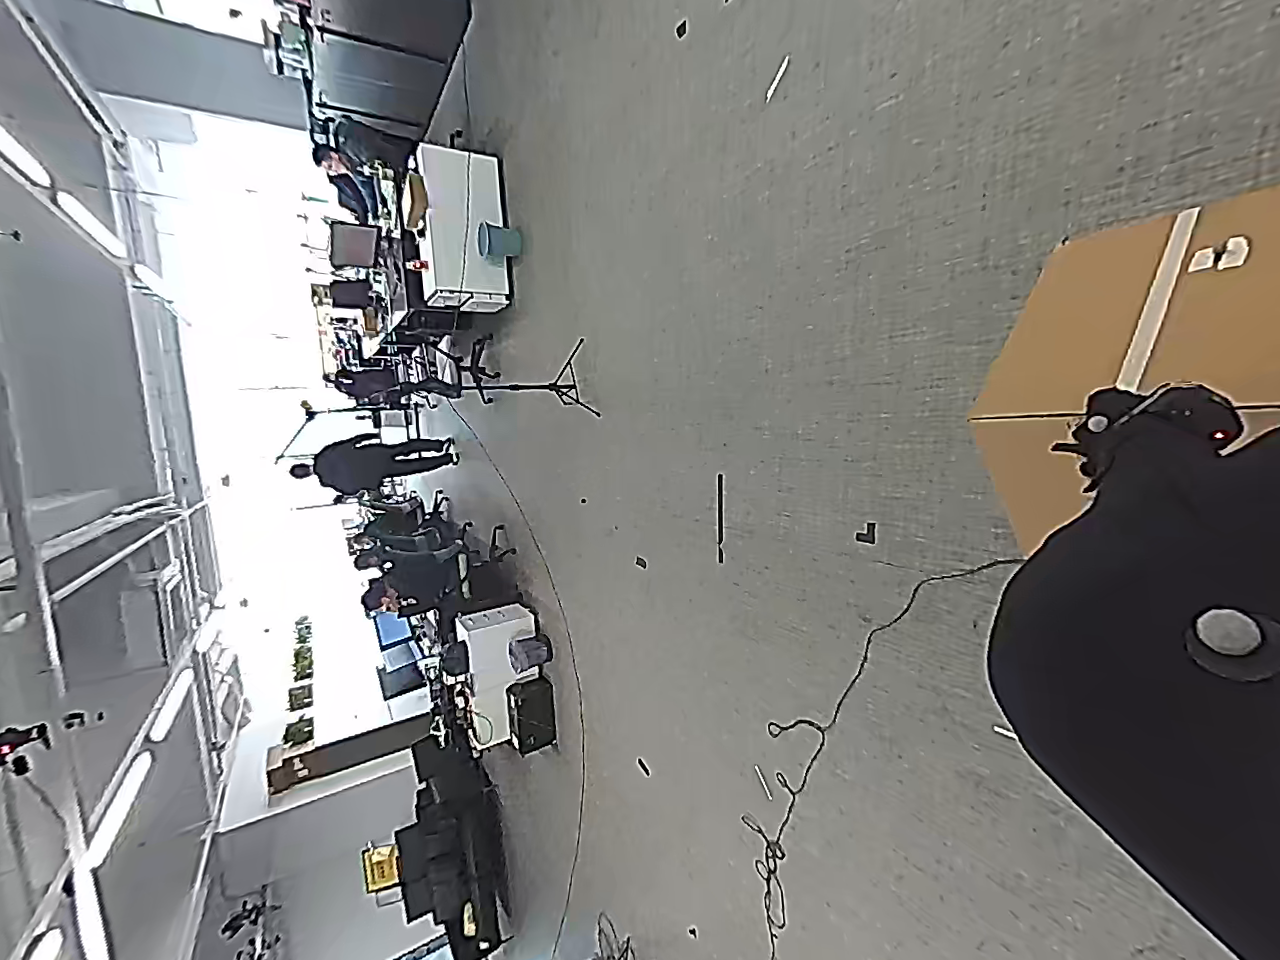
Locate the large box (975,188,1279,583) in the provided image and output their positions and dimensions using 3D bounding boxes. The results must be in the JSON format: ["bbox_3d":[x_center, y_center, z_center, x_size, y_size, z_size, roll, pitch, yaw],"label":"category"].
[{"bbox_3d":[0.737,-0.120,0.740,0.320,0.408,0.320,50,157,-26],"label":"large box"}]
